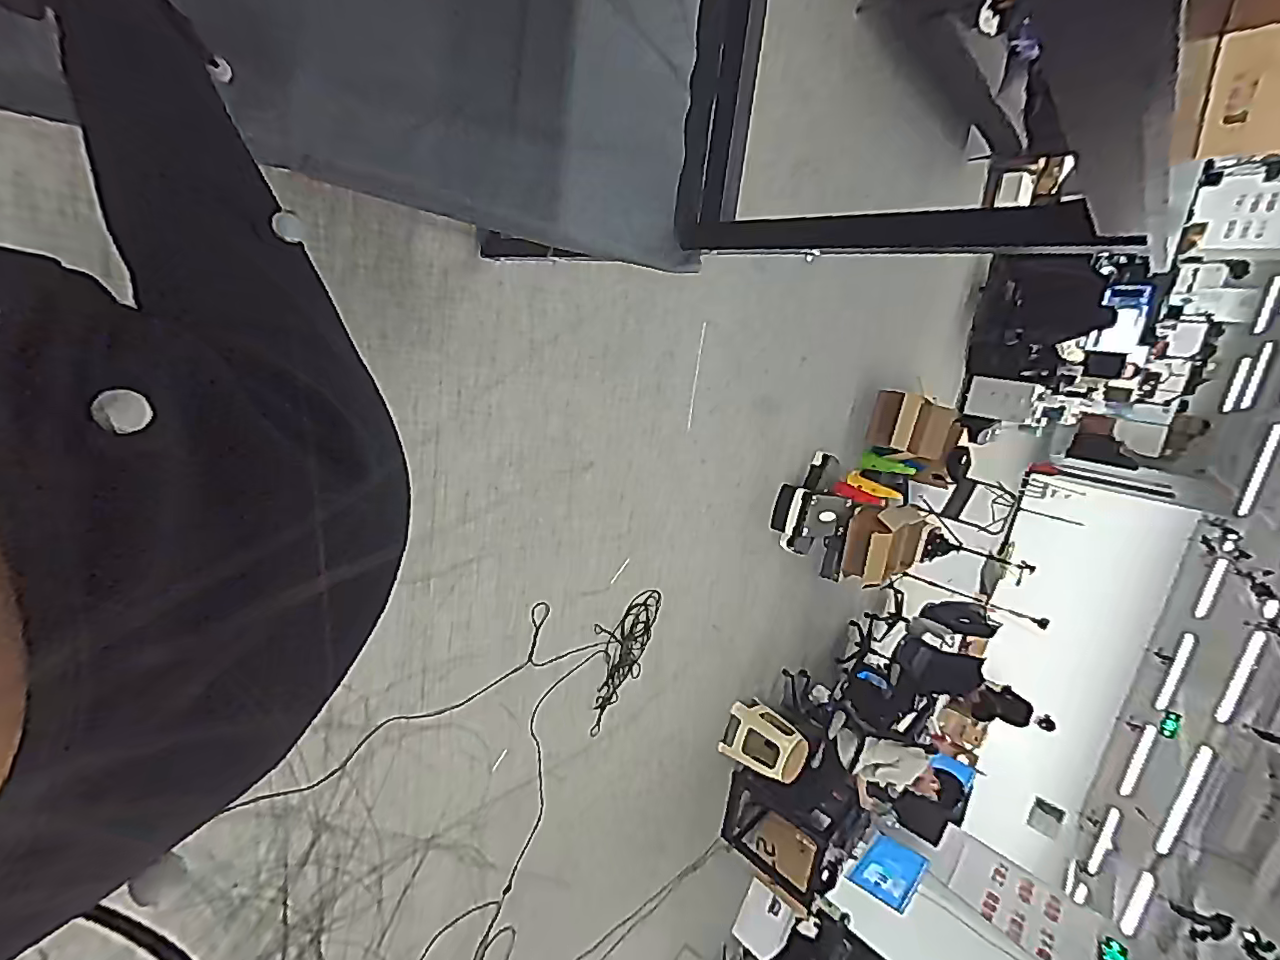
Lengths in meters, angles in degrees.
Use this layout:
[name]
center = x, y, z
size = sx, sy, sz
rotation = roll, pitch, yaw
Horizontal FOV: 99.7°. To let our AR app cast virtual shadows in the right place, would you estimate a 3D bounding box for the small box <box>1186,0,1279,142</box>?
[small box]
center = 0.544, -0.382, 0.393
size = 0.168, 0.176, 0.179
rotation = 9, 98, -50
